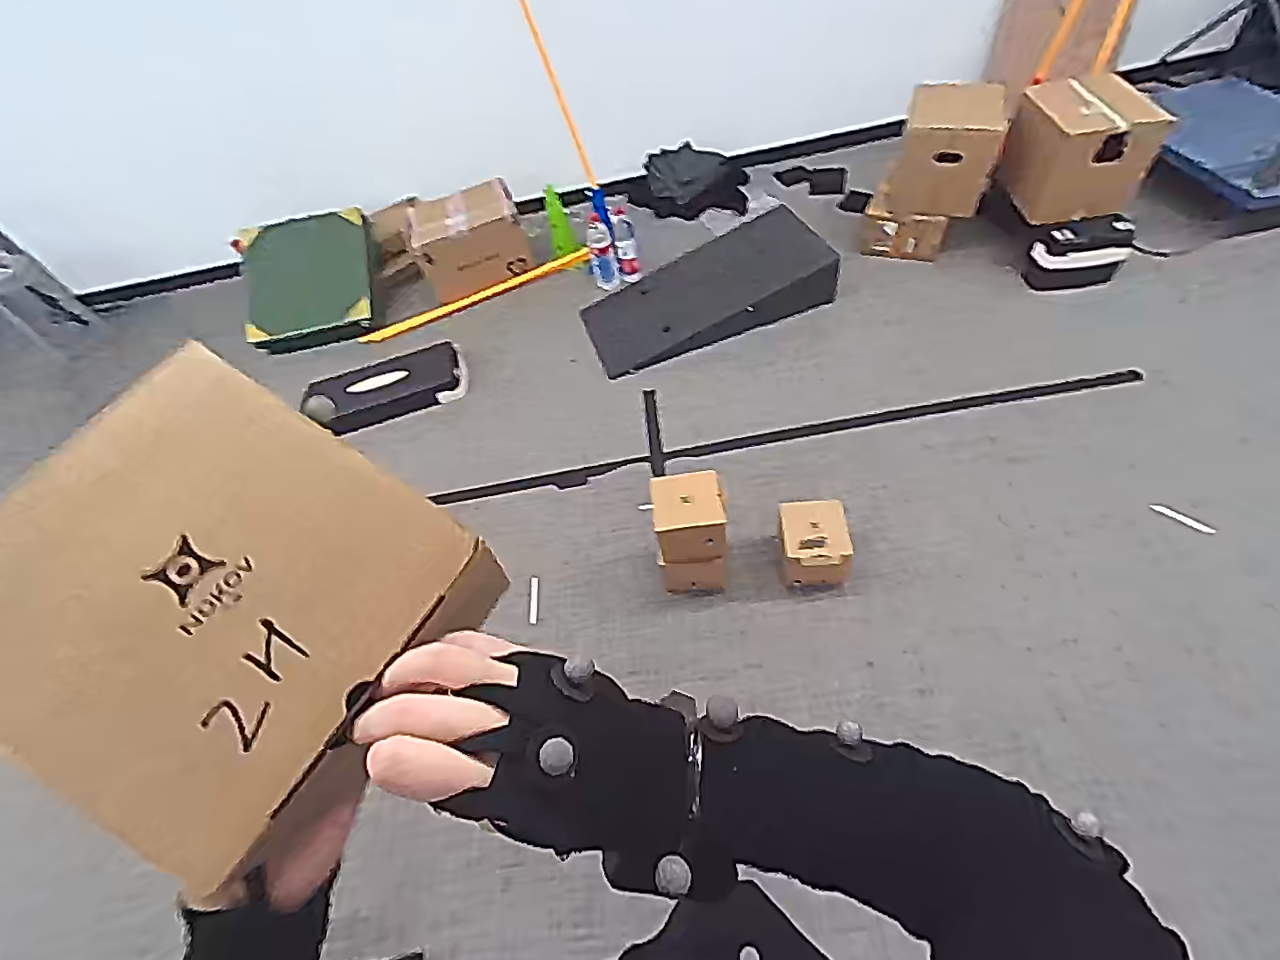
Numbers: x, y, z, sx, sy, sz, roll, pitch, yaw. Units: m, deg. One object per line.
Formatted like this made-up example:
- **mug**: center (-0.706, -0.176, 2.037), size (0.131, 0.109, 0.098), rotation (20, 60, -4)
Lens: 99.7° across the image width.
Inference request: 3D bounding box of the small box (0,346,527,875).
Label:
- **small box**: center (-0.185, 0.066, 0.310), size (0.179, 0.176, 0.168), rotation (34, 71, 4)

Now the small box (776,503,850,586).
- **small box**: center (0.471, 0.185, 1.496), size (0.168, 0.176, 0.179), rotation (-4, 52, 7)

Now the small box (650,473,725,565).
- **small box**: center (0.126, 0.105, 1.413), size (0.179, 0.176, 0.168), rotation (-8, 52, 5)

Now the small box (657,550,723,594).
- **small box**: center (0.142, 0.213, 1.536), size (0.179, 0.176, 0.168), rotation (-4, 53, 7)
